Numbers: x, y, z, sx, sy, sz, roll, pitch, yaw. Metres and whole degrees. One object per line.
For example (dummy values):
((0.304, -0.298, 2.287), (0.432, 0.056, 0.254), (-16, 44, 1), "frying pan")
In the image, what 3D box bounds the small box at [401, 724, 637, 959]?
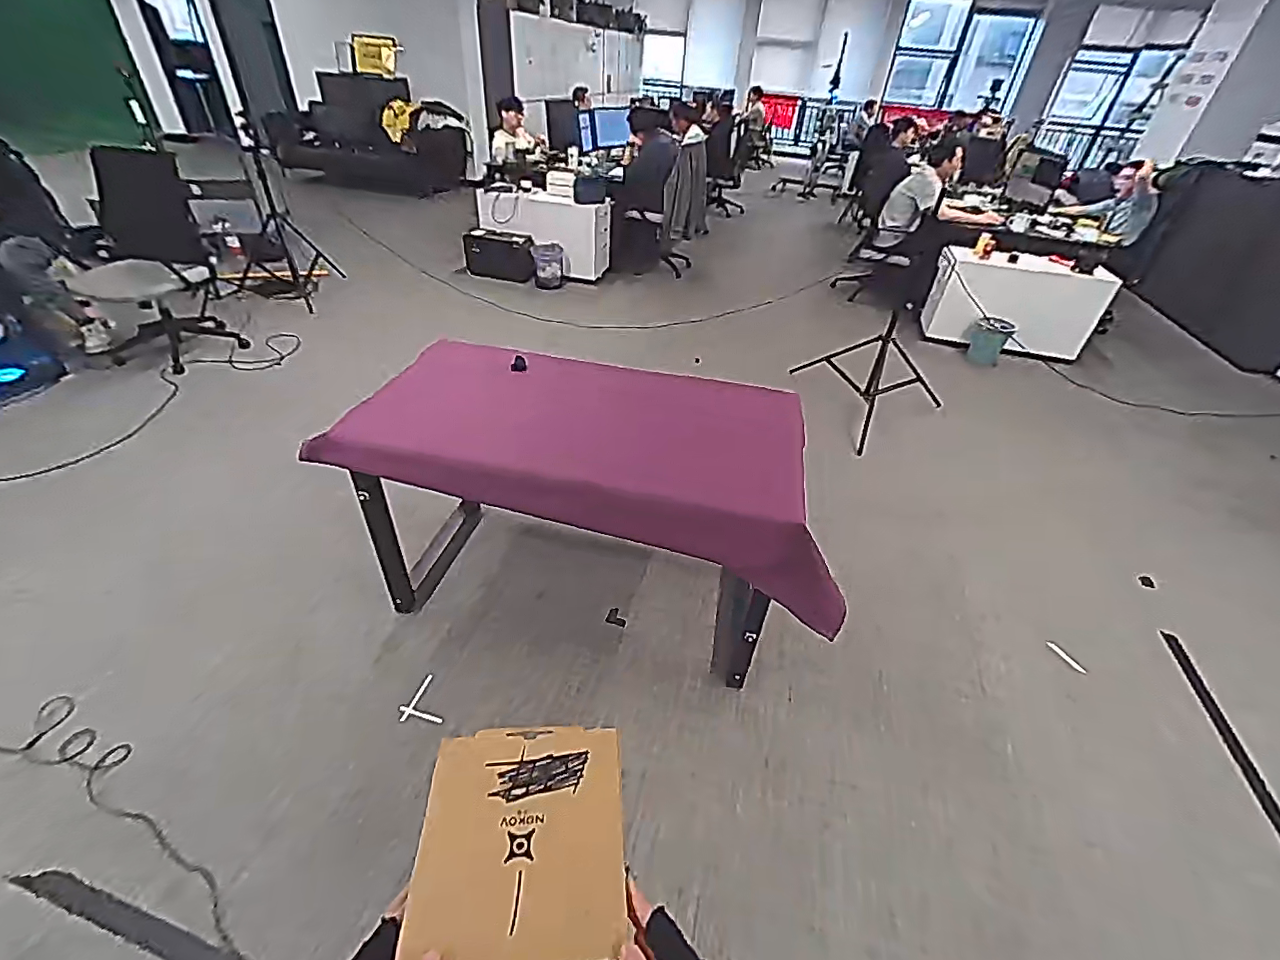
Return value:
((-0.093, 0.352, 0.488), (0.168, 0.176, 0.179), (-2, 33, -5), "small box")
